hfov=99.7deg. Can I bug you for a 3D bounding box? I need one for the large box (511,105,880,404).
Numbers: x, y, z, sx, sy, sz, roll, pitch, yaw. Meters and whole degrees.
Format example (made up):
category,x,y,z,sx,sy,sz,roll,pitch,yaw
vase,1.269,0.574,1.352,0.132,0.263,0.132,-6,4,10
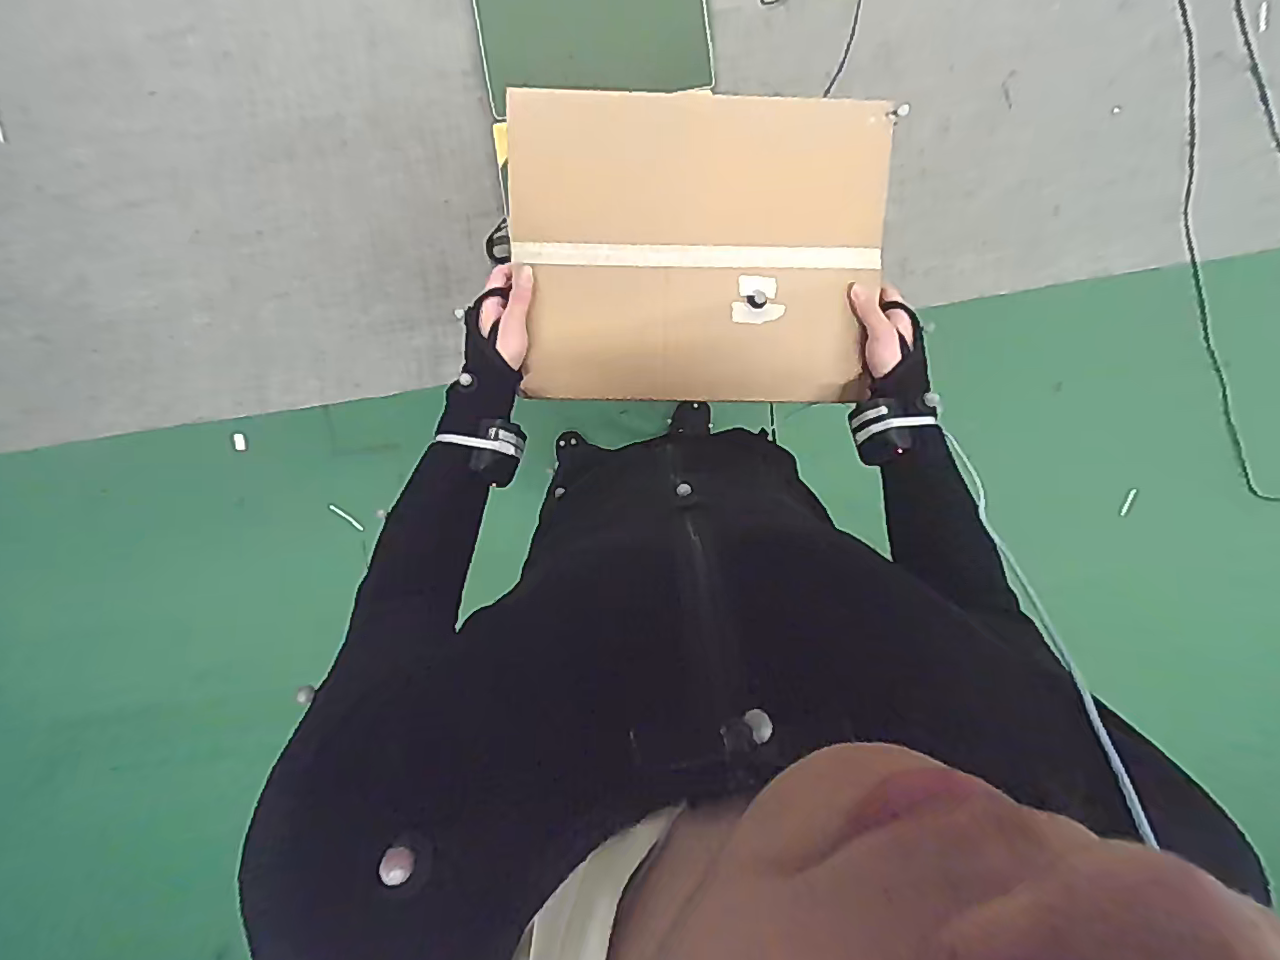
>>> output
category,x,y,z,sx,sy,sz,roll,pitch,yaw
large box,0.055,-0.274,0.749,0.408,0.320,0.320,0,102,-3
